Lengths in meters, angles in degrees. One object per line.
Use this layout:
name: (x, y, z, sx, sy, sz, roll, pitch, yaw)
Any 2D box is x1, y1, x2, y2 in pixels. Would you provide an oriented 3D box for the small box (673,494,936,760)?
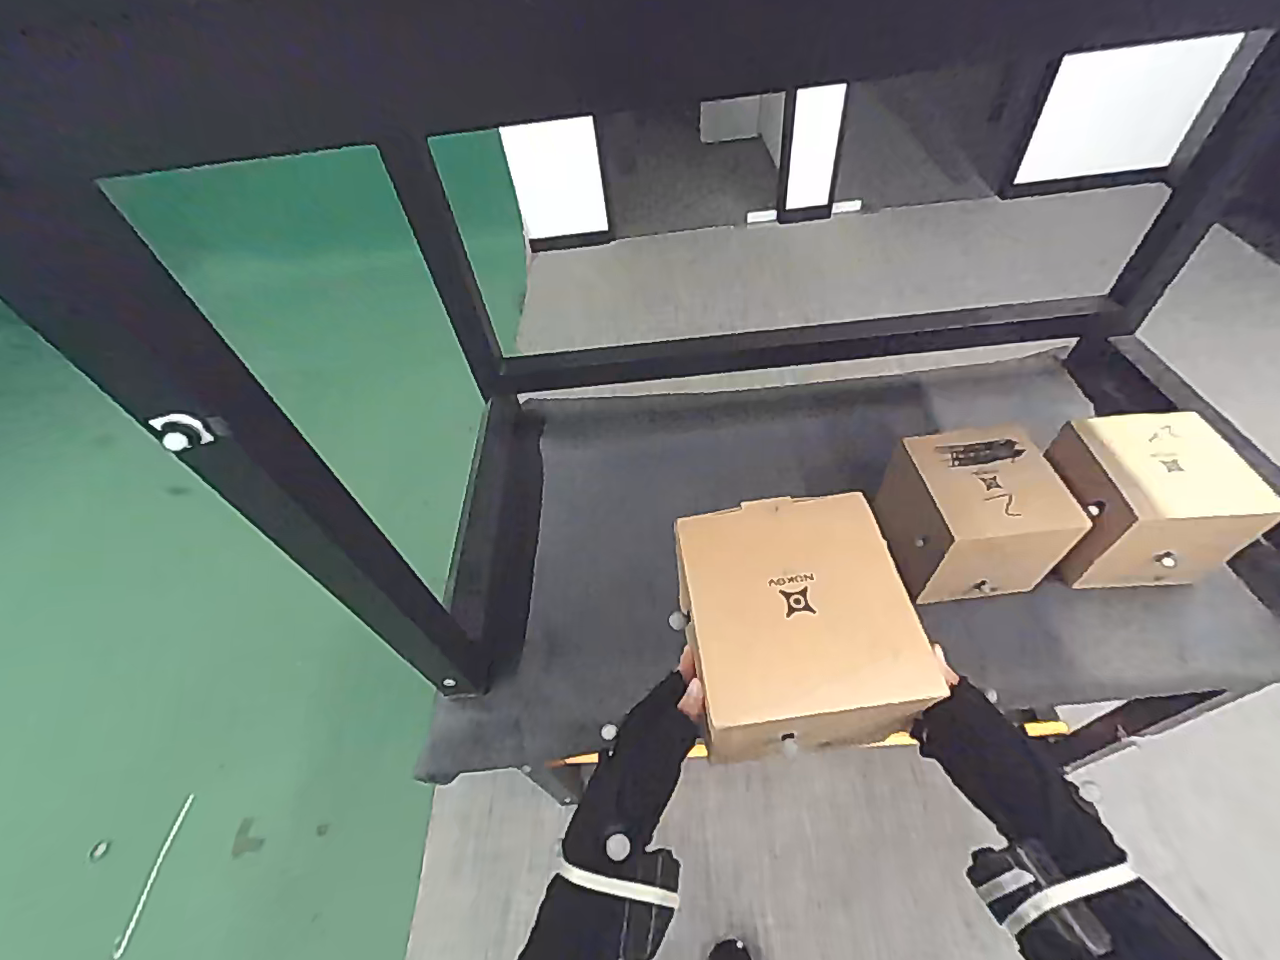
small box: (0.125, 0.139, 0.485, 0.168, 0.176, 0.179, -8, 52, 1)
